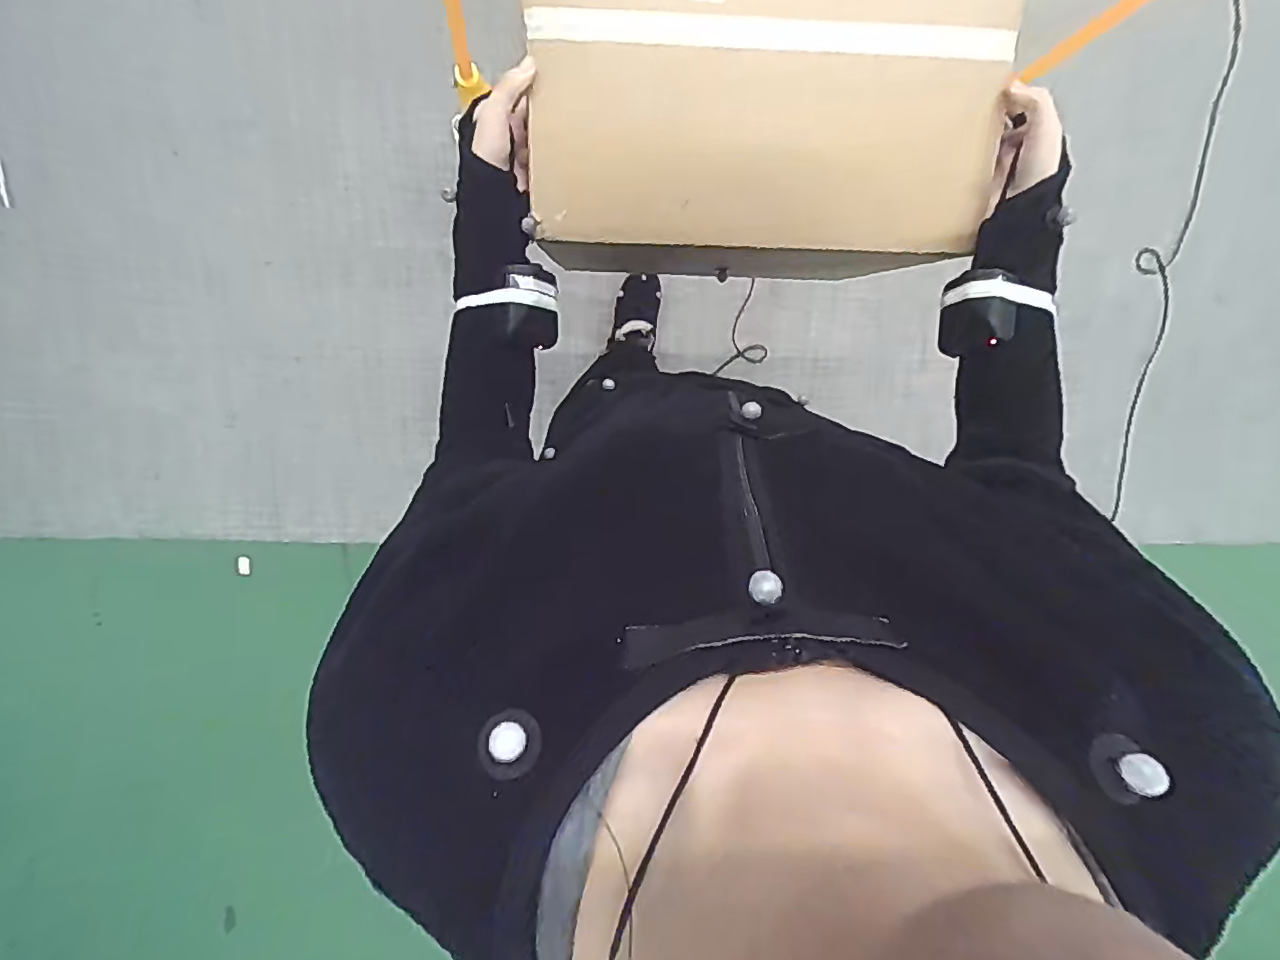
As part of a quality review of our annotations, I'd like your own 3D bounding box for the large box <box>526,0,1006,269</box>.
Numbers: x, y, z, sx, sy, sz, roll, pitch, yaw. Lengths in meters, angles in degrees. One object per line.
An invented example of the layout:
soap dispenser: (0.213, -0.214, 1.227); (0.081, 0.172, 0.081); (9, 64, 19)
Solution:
large box: (0.101, -0.407, 0.595); (0.408, 0.320, 0.320); (0, 105, -2)
